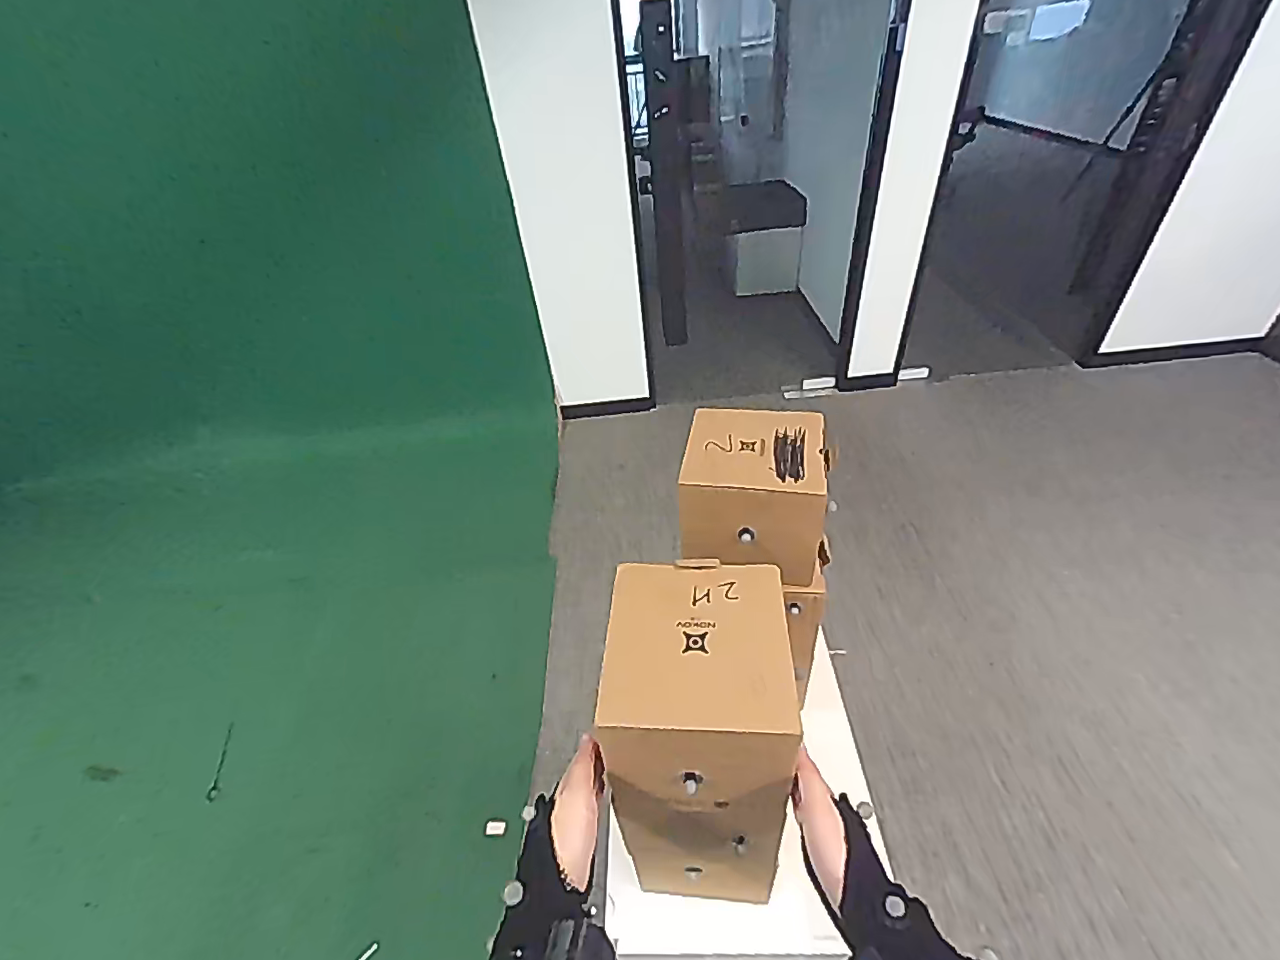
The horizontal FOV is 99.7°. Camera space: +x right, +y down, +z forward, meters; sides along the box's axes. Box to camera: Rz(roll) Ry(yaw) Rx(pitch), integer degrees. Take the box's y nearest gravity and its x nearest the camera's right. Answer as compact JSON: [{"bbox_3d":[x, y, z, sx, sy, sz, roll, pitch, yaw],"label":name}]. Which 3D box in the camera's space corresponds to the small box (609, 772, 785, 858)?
[{"bbox_3d":[0.070,0.327,0.645,0.179,0.176,0.168,-1,39,8],"label":"small box"}]

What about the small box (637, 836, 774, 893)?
[{"bbox_3d":[0.088,0.448,0.751,0.179,0.176,0.168,1,40,8],"label":"small box"}]

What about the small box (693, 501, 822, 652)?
[{"bbox_3d":[0.174,0.150,0.837,0.179,0.176,0.168,1,41,8],"label":"small box"}]

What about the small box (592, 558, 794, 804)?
[{"bbox_3d":[0.056,0.199,0.542,0.168,0.176,0.179,0,39,7],"label":"small box"}]

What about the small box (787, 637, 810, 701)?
[{"bbox_3d":[0.195,0.270,0.945,0.179,0.176,0.168,1,42,10],"label":"small box"}]
